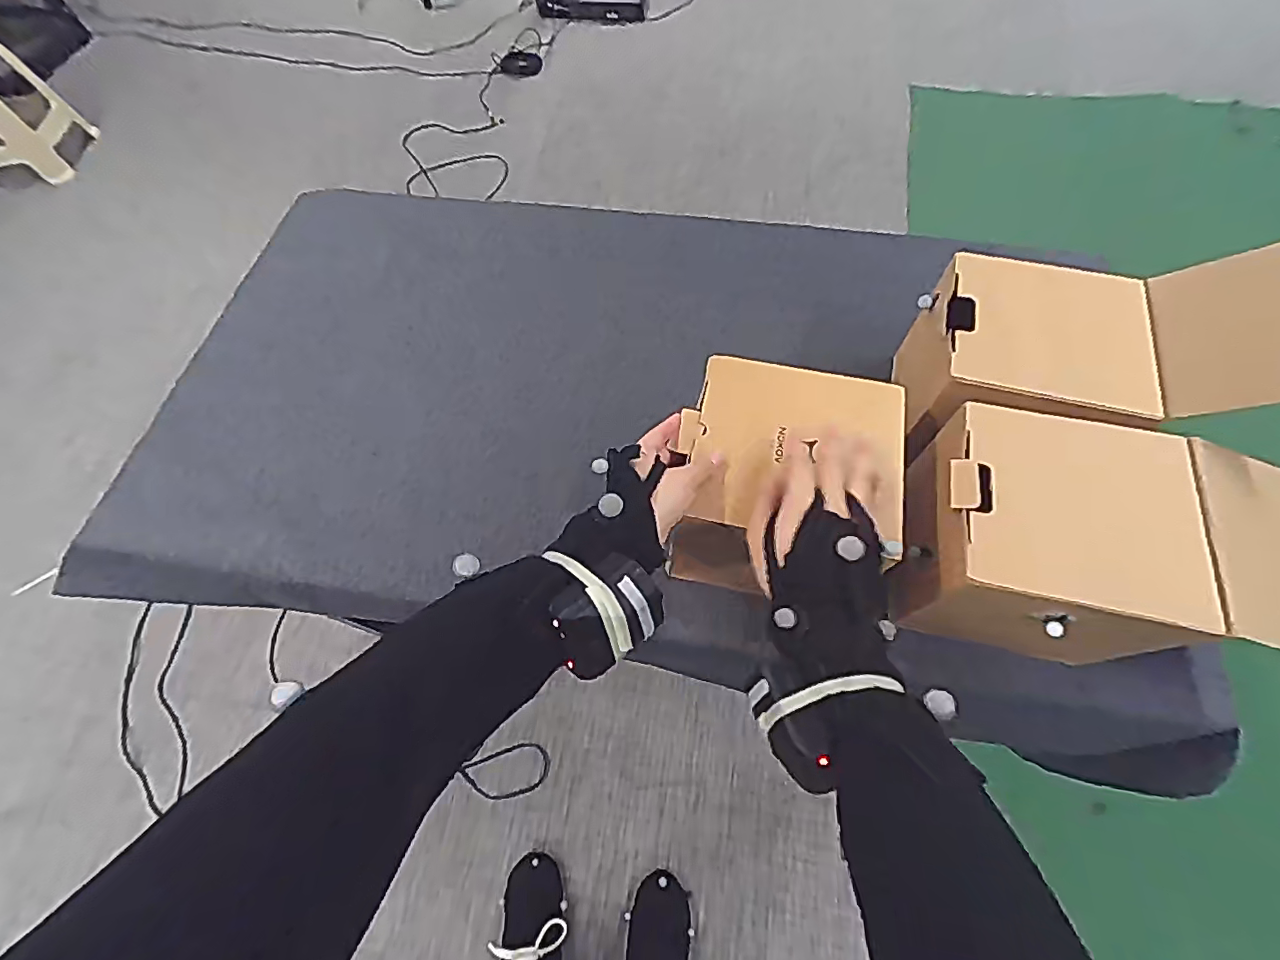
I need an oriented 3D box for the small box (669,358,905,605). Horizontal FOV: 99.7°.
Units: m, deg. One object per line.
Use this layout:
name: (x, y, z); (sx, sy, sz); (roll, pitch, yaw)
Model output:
small box: (0.130, 0.012, 0.520); (0.179, 0.176, 0.168); (11, 65, 7)
